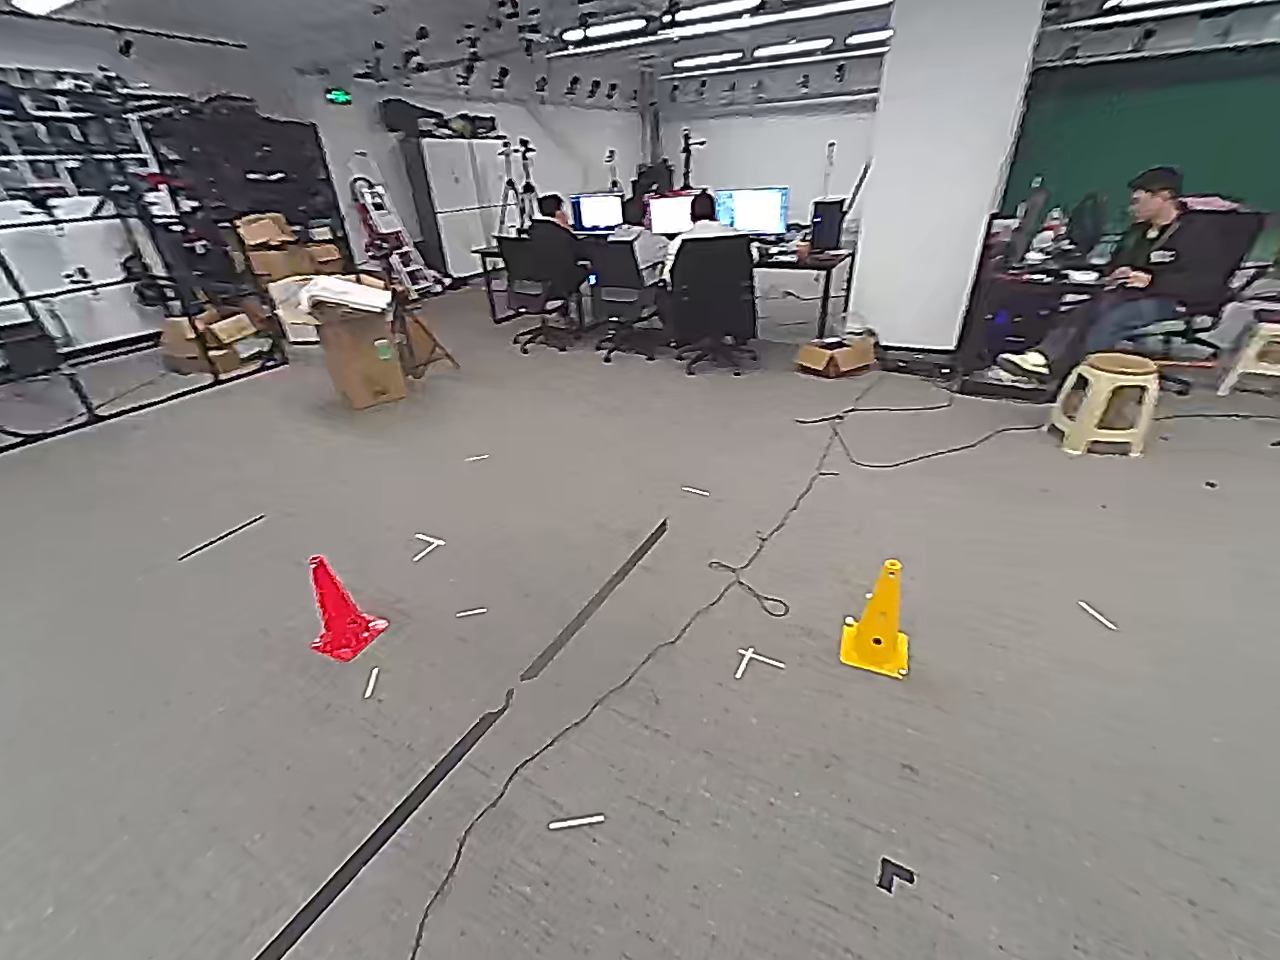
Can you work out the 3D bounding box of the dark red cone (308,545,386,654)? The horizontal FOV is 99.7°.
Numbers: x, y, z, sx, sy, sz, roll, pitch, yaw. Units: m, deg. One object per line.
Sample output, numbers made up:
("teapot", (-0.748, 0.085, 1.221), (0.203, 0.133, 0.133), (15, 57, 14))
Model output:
("dark red cone", (-1.057, 0.392, 1.860), (0.201, 0.394, 0.202), (10, 33, 20))
